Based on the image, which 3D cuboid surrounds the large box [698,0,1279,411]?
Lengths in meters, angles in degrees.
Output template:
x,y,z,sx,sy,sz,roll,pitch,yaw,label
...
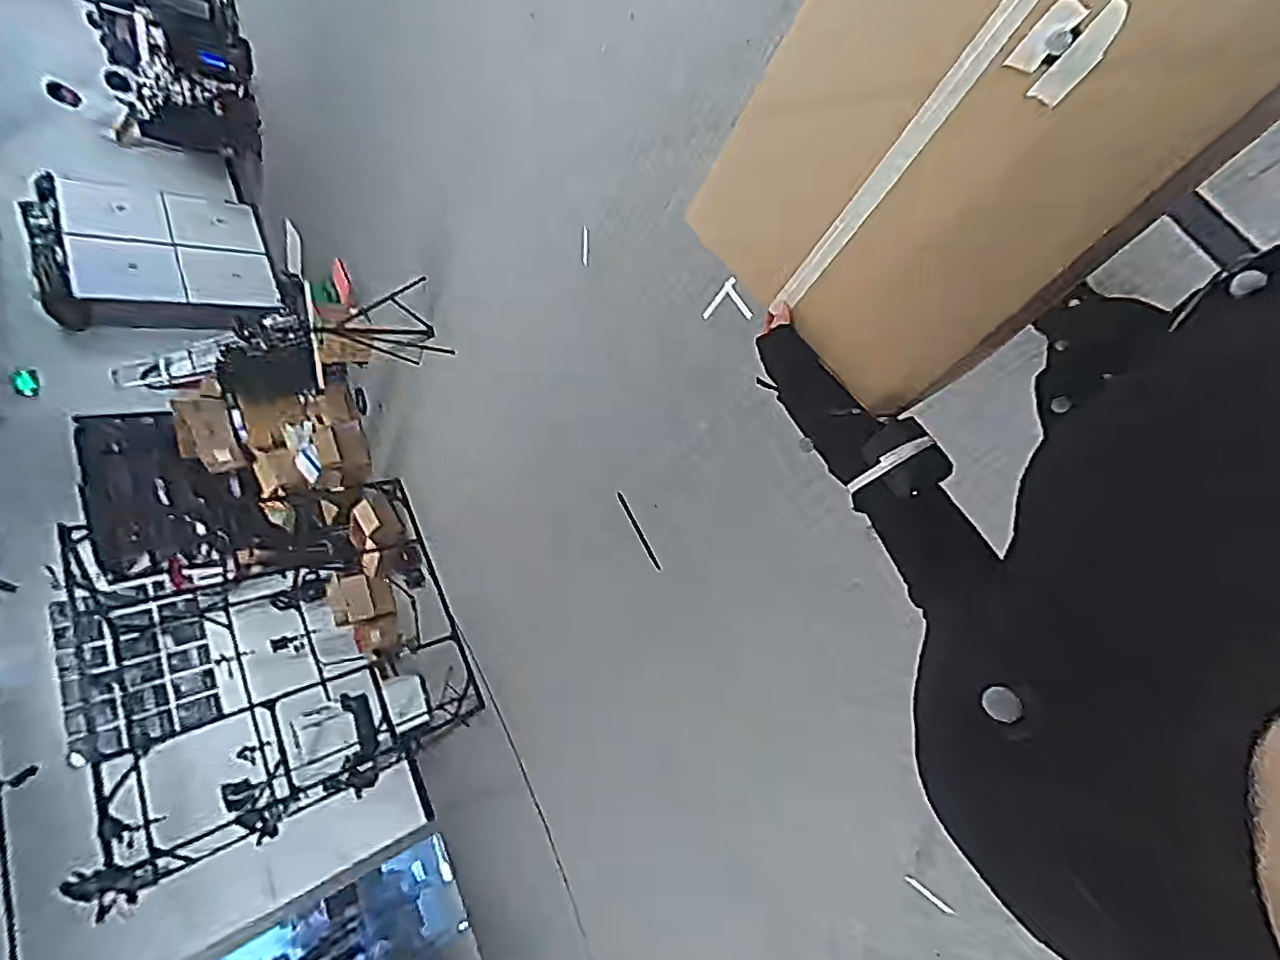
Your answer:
x,y,z,sx,sy,sz,roll,pitch,yaw,label
0.338,-0.334,0.538,0.320,0.320,0.408,51,133,15,large box
